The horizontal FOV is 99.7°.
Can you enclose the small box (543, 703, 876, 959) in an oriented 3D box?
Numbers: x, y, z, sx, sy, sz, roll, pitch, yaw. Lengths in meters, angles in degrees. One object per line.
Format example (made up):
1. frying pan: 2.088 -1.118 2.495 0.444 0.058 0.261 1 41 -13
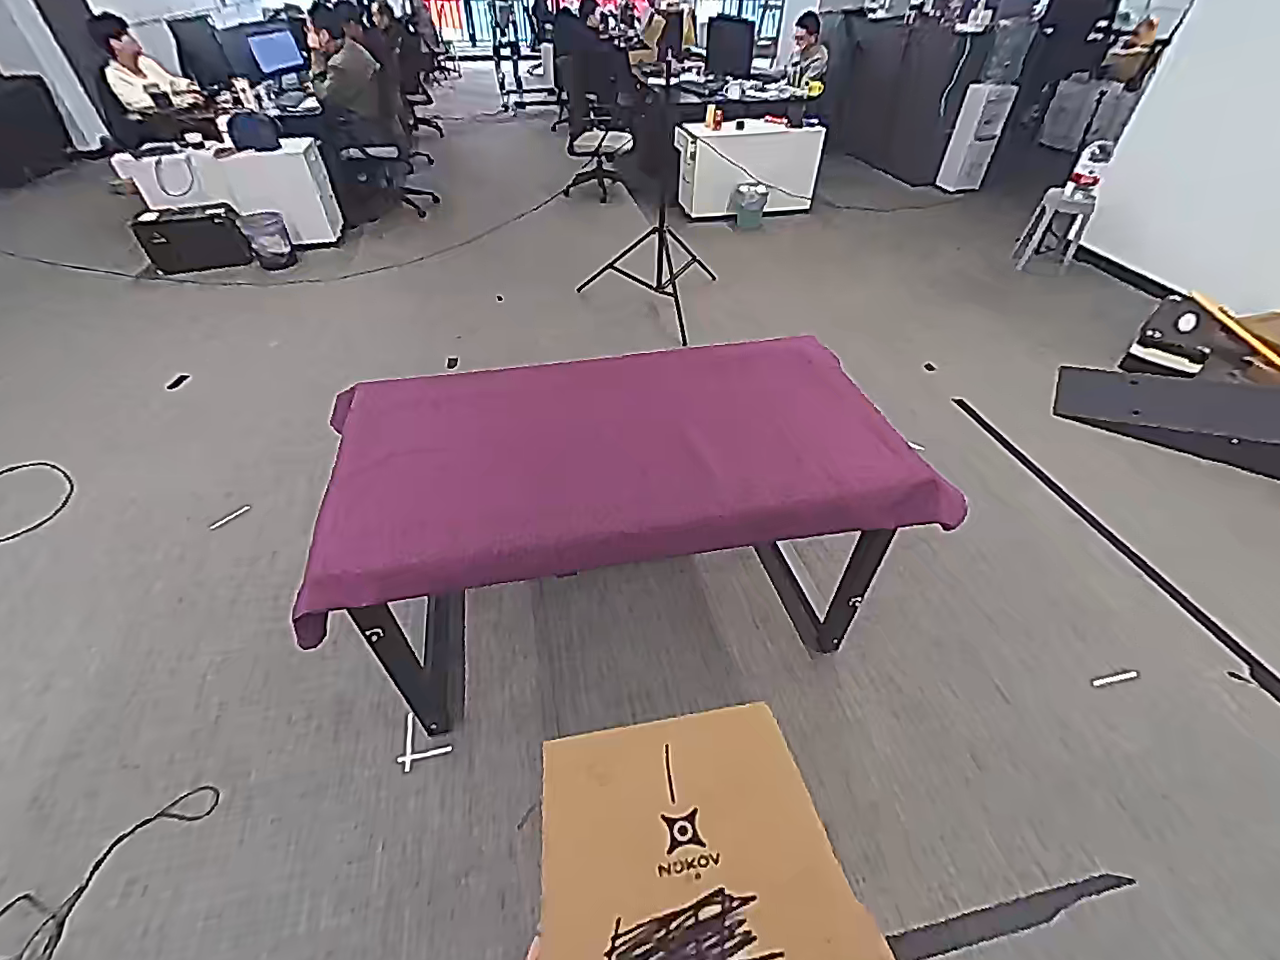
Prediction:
1. small box: 0.033 0.284 0.352 0.168 0.176 0.179 -8 27 -6
